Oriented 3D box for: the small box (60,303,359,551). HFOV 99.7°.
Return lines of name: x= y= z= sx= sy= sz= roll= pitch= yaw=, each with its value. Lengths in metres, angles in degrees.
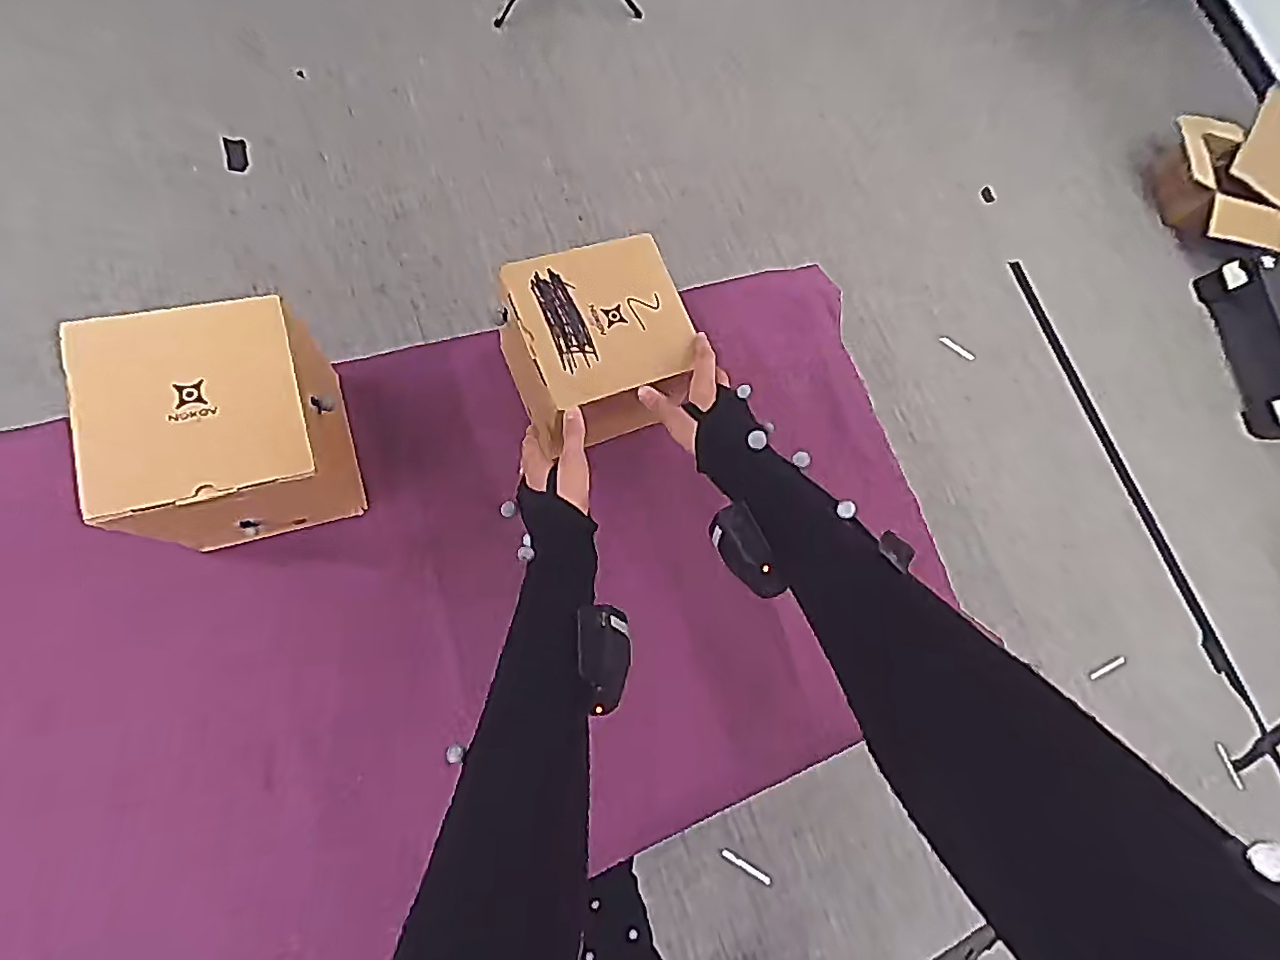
small box: x=-0.397 y=-0.042 z=0.529 sx=0.168 sy=0.176 sz=0.179 roll=-15 pitch=80 yaw=-16
